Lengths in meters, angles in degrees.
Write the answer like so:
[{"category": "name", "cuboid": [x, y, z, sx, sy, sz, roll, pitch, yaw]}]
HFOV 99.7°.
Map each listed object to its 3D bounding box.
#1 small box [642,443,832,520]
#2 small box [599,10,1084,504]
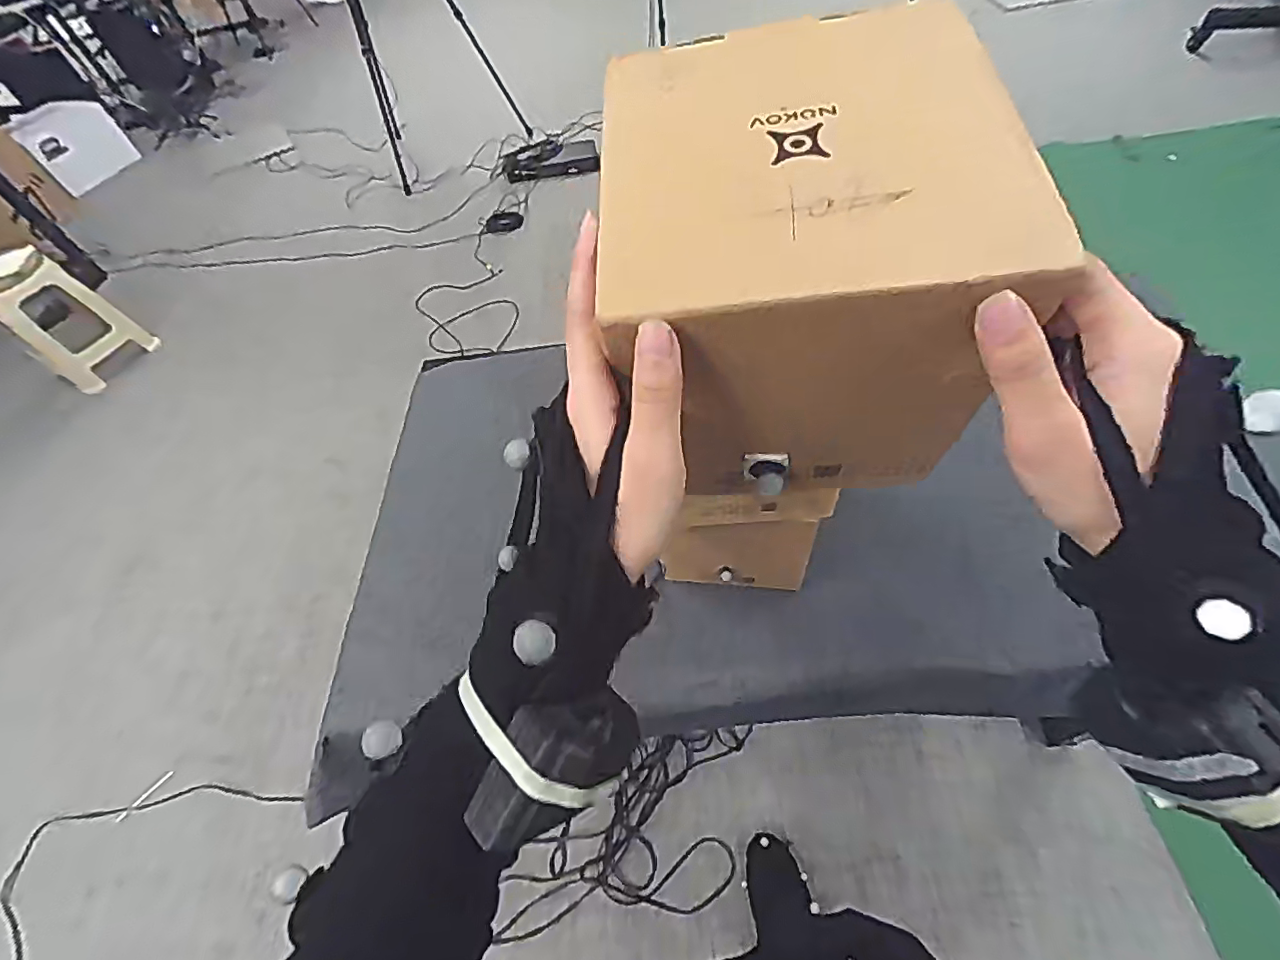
[{"category": "small box", "cuboid": [0.091, -0.072, 0.504, 0.168, 0.176, 0.179, -4, 55, 6]}, {"category": "small box", "cuboid": [0.077, -0.101, 0.294, 0.168, 0.176, 0.179, -4, 65, 8]}]
